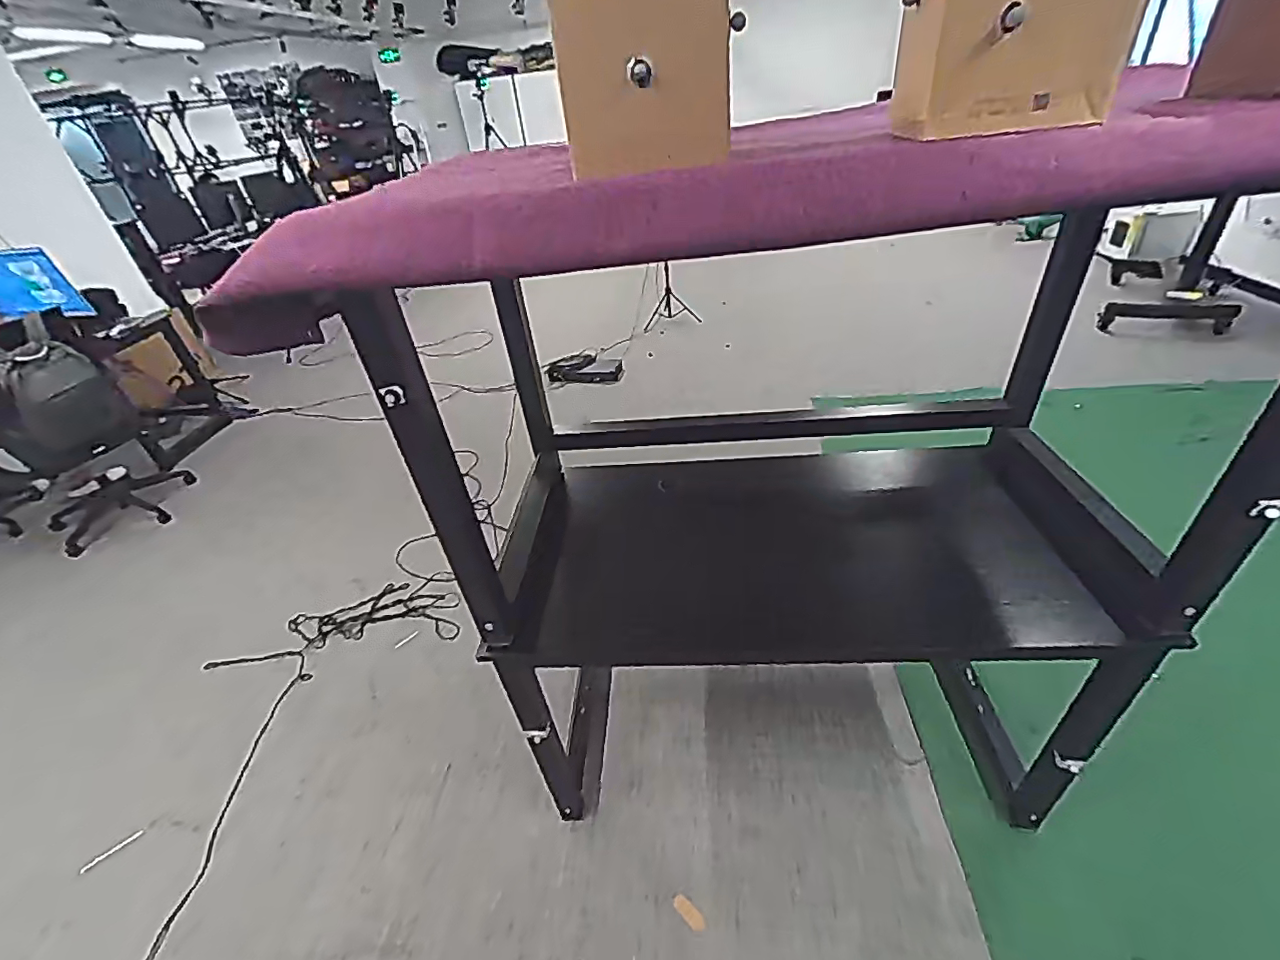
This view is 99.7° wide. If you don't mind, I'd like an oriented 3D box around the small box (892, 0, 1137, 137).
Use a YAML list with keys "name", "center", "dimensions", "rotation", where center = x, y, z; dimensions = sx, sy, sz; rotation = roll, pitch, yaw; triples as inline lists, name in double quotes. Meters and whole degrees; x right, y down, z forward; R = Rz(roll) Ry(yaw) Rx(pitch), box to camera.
- name: "small box"
  center: [0.371, -0.458, 0.553]
  dimensions: [0.168, 0.176, 0.179]
  rotation: [1, 34, 11]

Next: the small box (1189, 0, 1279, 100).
- name: "small box"
  center: [0.711, -0.480, 0.520]
  dimensions: [0.168, 0.176, 0.179]
  rotation: [-4, 33, 5]
